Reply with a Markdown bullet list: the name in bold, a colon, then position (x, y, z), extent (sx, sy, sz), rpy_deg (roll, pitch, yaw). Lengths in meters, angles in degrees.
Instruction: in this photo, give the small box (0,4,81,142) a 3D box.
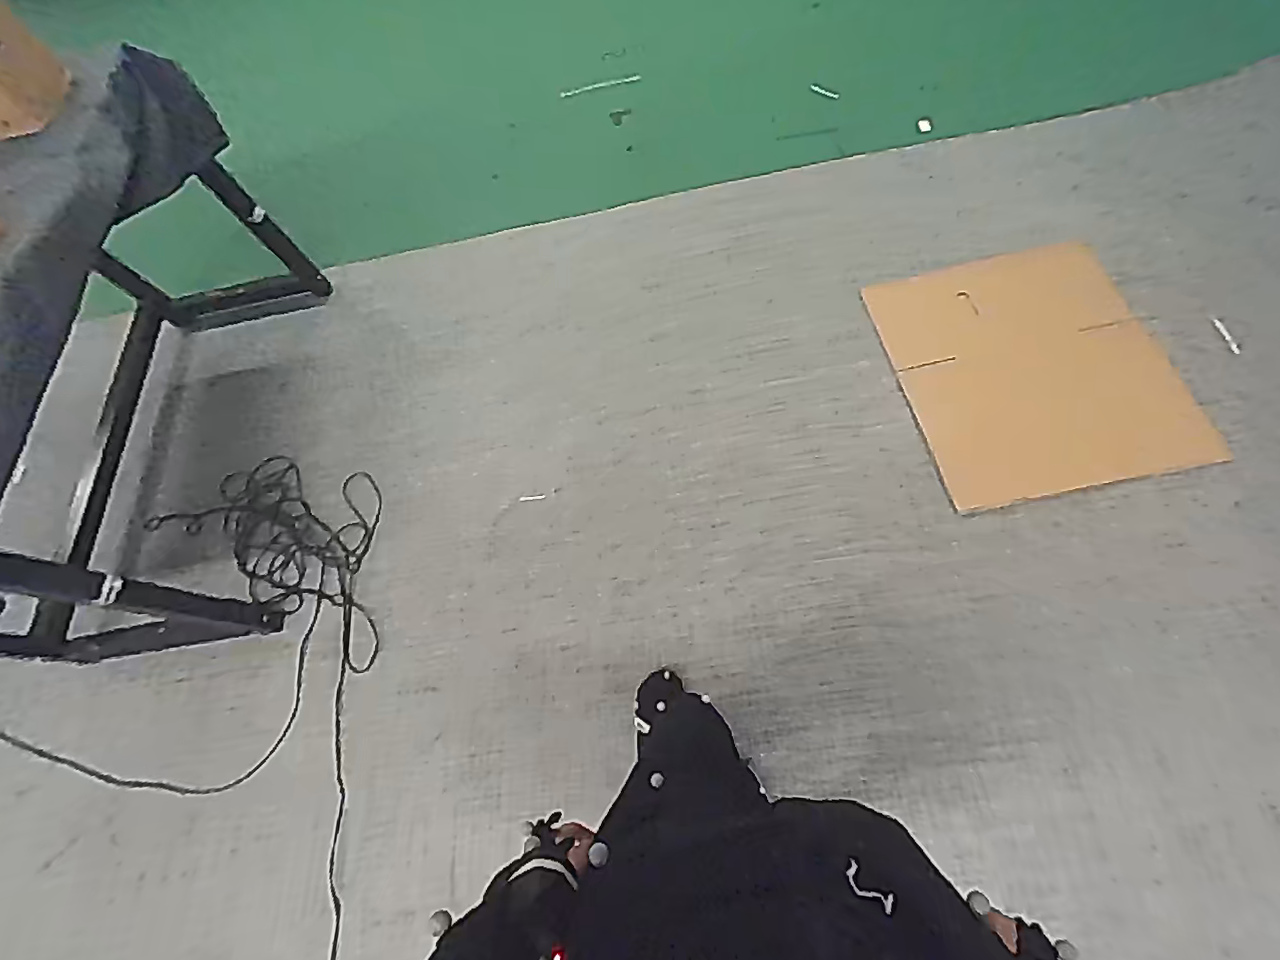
- **small box**: position (-1.291, -0.805, 1.076), extent (0.168, 0.176, 0.179), rpy_deg (-4, 66, 6)
